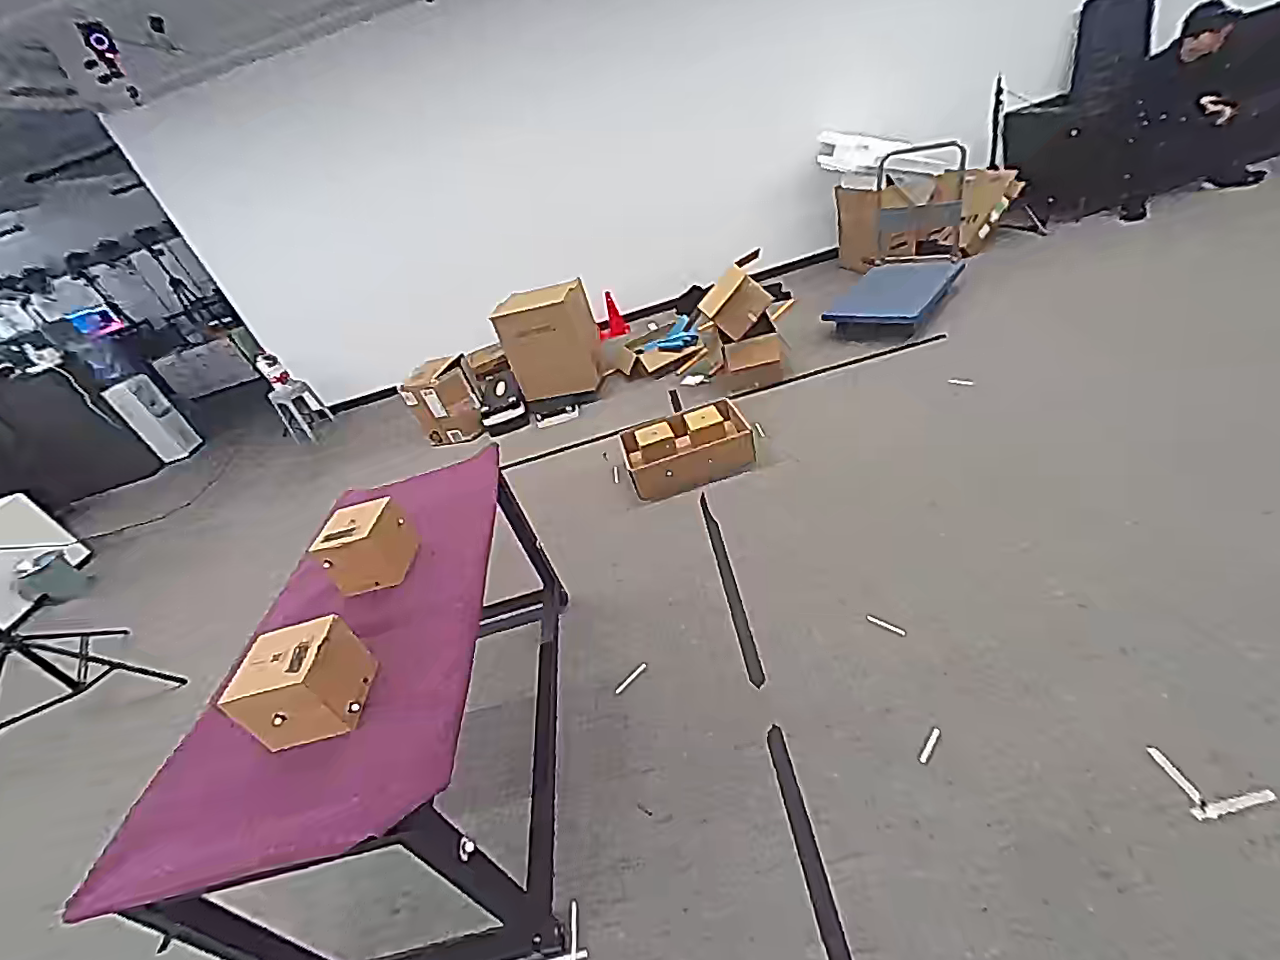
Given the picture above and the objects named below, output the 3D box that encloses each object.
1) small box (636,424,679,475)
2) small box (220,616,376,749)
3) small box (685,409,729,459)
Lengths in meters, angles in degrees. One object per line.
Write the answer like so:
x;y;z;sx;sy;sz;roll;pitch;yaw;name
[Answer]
0.092;-0.154;2.751;0.179;0.176;0.168;-19;32;-2;small box
-0.671;0.408;1.089;0.179;0.176;0.168;-16;33;4;small box
0.339;-0.234;2.751;0.168;0.176;0.179;-19;34;1;small box
